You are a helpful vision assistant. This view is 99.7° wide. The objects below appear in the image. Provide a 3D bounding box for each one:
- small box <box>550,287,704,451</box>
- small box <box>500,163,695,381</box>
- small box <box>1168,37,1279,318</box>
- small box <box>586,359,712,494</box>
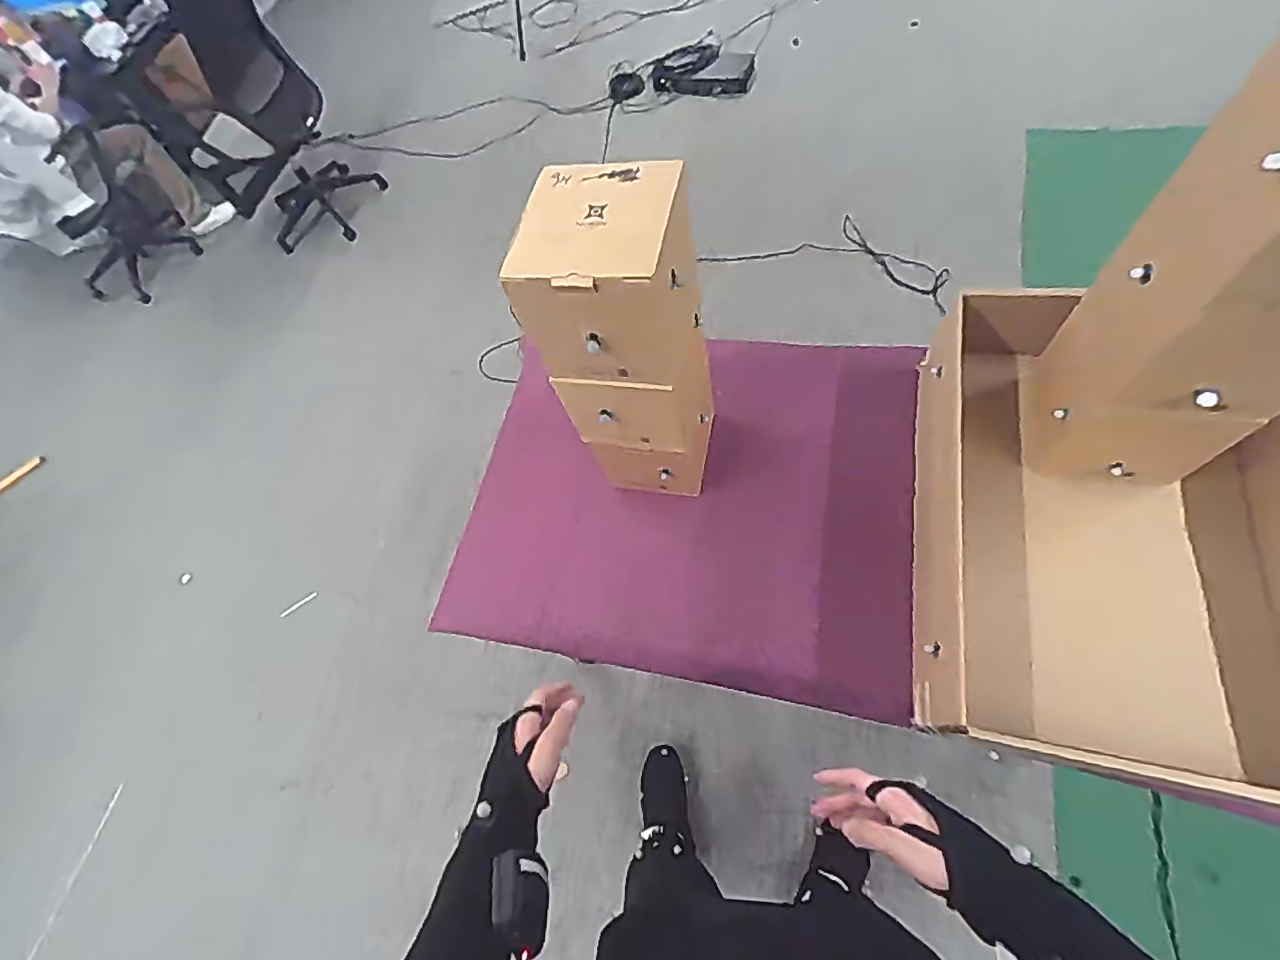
[{"bbox_3d":[-0.005,-0.158,0.775,0.168,0.176,0.179,7,66,15],"label":"small box"},{"bbox_3d":[-0.034,-0.234,0.632,0.168,0.176,0.179,7,66,14],"label":"small box"},{"bbox_3d":[0.587,-0.245,0.437,0.168,0.176,0.179,7,67,16],"label":"small box"},{"bbox_3d":[0.027,-0.092,0.919,0.168,0.176,0.179,8,66,15],"label":"small box"}]
